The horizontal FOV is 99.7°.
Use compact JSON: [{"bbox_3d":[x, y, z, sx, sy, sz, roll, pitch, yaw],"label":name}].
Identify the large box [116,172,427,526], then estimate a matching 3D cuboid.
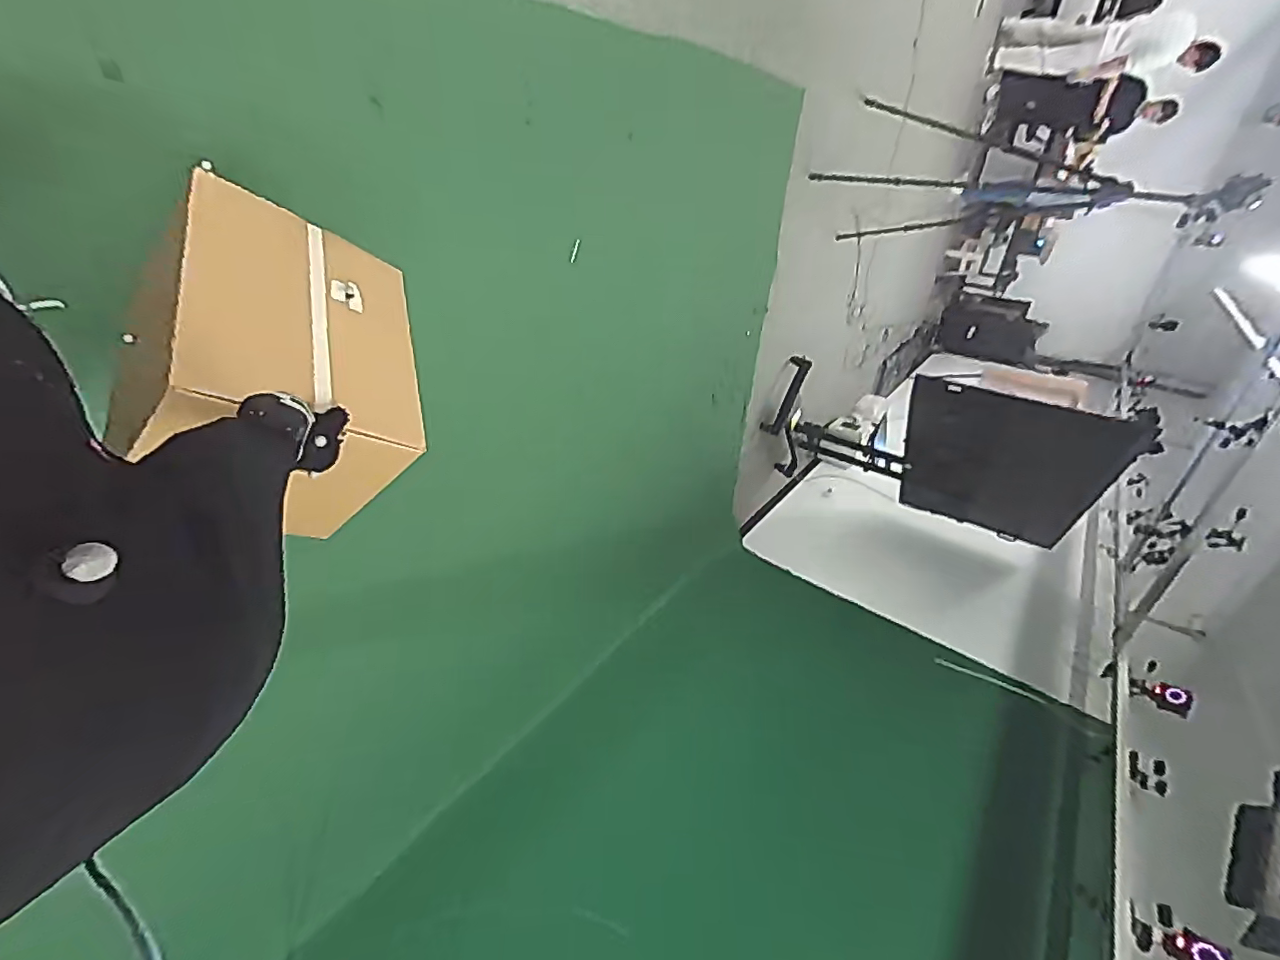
[{"bbox_3d":[-0.593,-0.176,0.880,0.320,0.408,0.320,-33,151,27],"label":"large box"}]
